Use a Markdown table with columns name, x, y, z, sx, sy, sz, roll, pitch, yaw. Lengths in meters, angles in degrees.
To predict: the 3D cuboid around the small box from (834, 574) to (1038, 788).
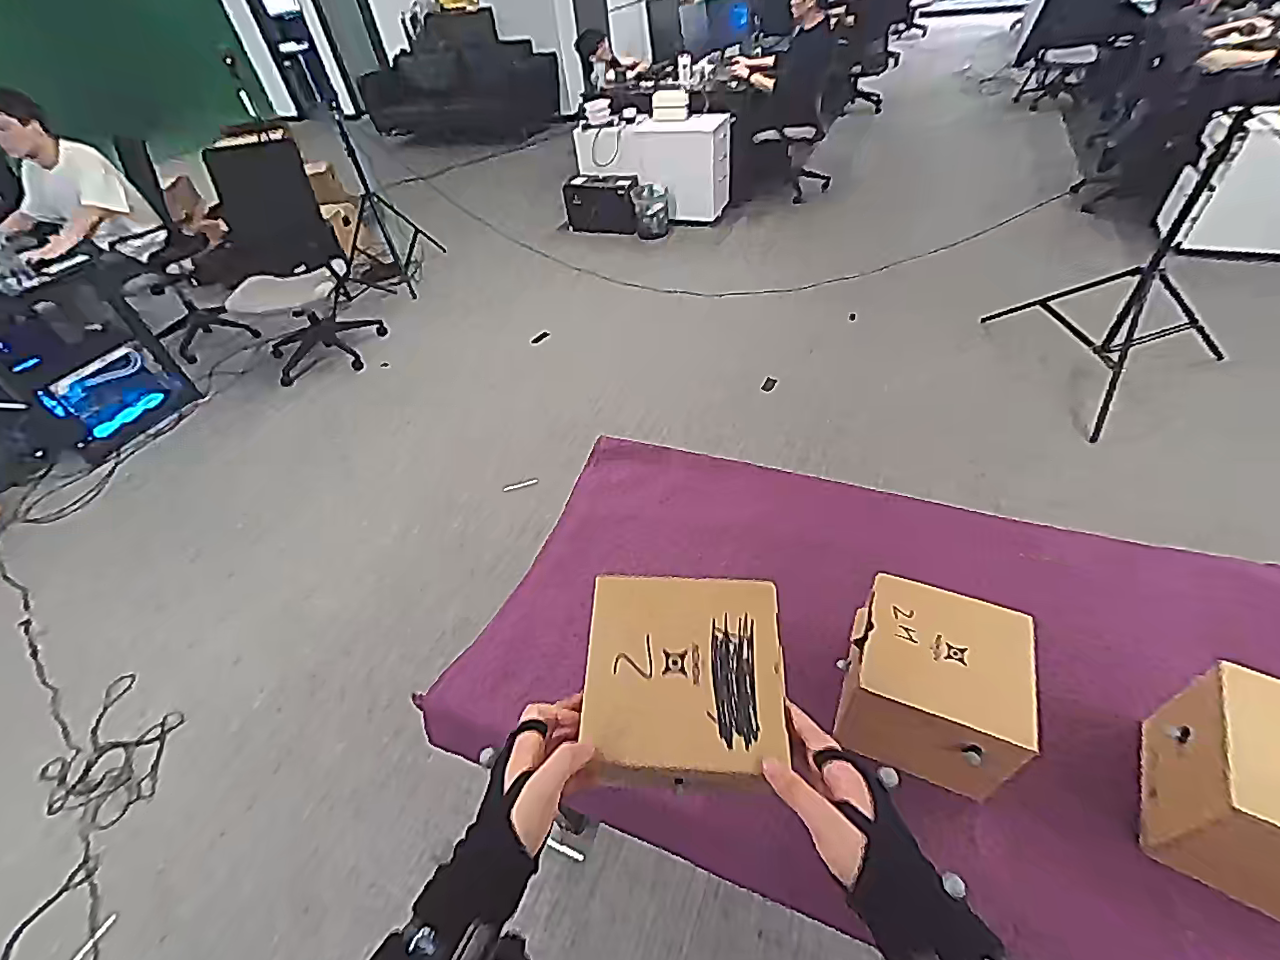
| name | x | y | z | sx | sy | sz | roll | pitch | yaw |
| --- | --- | --- | --- | --- | --- | --- | --- | --- | --- |
| small box | 0.356 | 0.251 | 0.670 | 0.179 | 0.176 | 0.168 | 14 | 48 | 21 |

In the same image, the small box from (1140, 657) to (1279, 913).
| name | x | y | z | sx | sy | sz | roll | pitch | yaw |
| --- | --- | --- | --- | --- | --- | --- | --- | --- | --- |
| small box | 0.657 | 0.322 | 0.551 | 0.179 | 0.176 | 0.168 | 20 | 51 | 26 |
